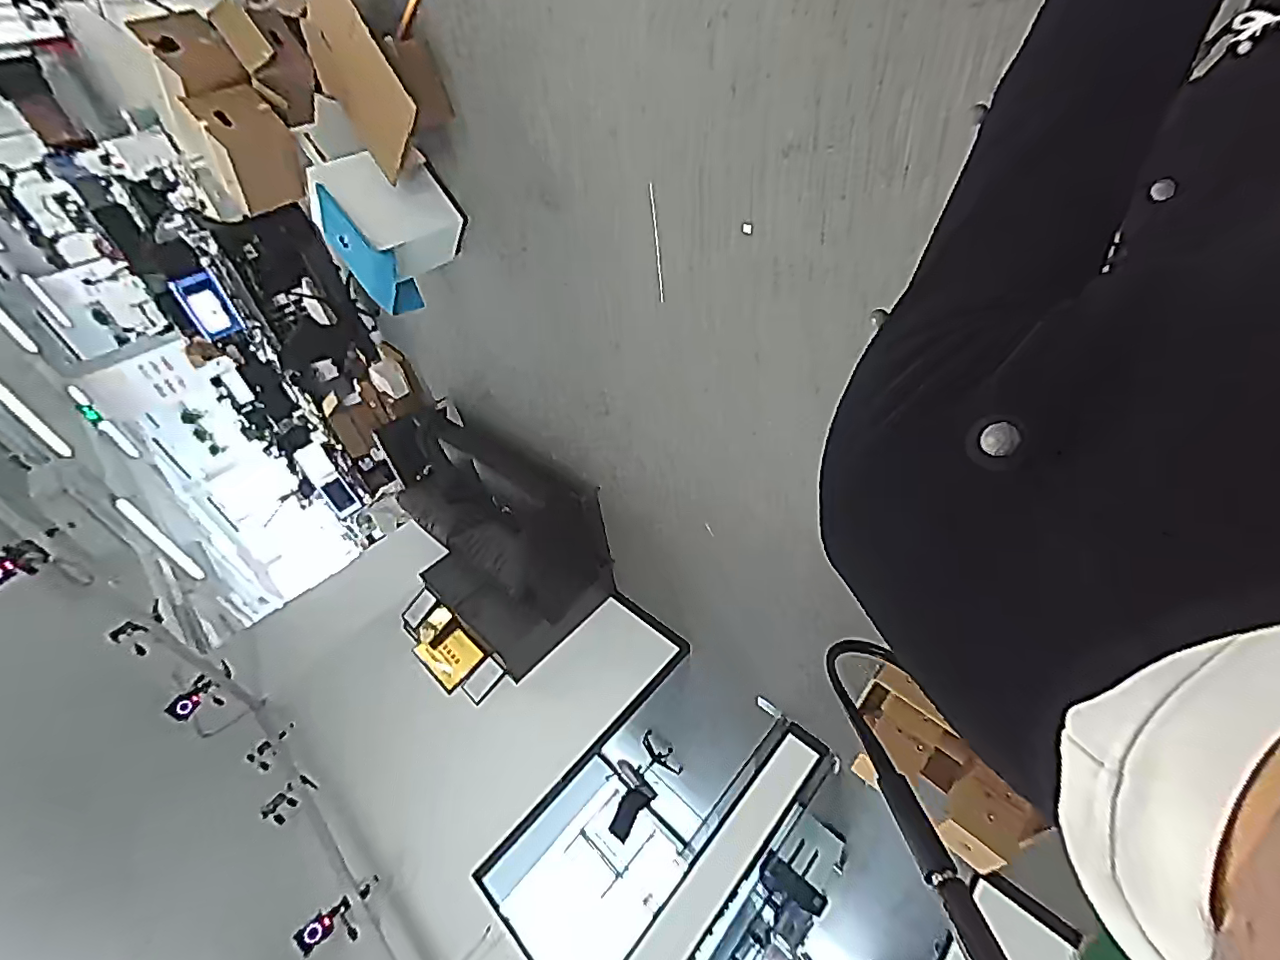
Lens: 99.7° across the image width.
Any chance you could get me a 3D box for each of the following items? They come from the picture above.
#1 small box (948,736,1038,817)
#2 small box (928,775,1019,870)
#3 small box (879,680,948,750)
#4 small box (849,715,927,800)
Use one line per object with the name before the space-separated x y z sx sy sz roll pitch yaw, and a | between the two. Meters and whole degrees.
small box | 1.150 0.973 1.758 0.168 0.176 0.179 33 147 27
small box | 1.035 1.055 1.674 0.168 0.176 0.179 34 146 29
small box | 0.949 0.838 1.895 0.168 0.176 0.179 33 146 30
small box | 0.835 0.928 1.817 0.168 0.176 0.179 33 147 30
